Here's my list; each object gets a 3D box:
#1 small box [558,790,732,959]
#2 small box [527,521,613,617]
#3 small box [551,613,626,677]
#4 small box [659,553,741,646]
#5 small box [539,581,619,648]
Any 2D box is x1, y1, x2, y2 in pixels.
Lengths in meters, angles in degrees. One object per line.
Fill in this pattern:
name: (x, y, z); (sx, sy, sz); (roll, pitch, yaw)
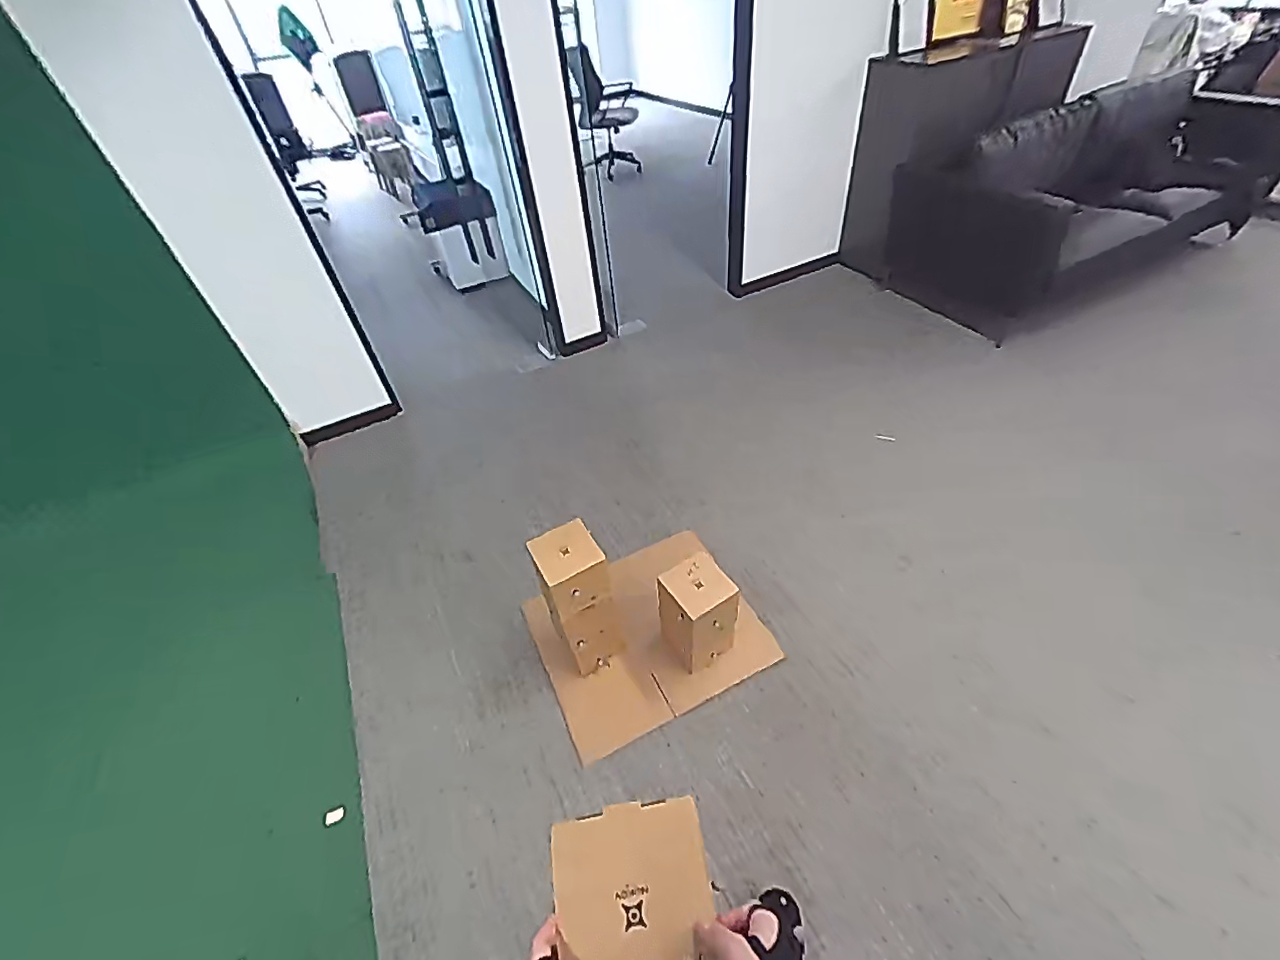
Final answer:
small box: (0.007, 0.480, 0.620); (0.168, 0.176, 0.179); (-12, 53, -1)
small box: (-0.188, 0.252, 1.492); (0.168, 0.176, 0.179); (-26, 46, -17)
small box: (-0.160, 0.487, 1.715); (0.168, 0.176, 0.179); (-28, 48, -20)
small box: (0.173, 0.352, 1.565); (0.168, 0.176, 0.179); (-27, 47, -20)
small box: (-0.176, 0.370, 1.602); (0.168, 0.176, 0.179); (-26, 46, -18)
